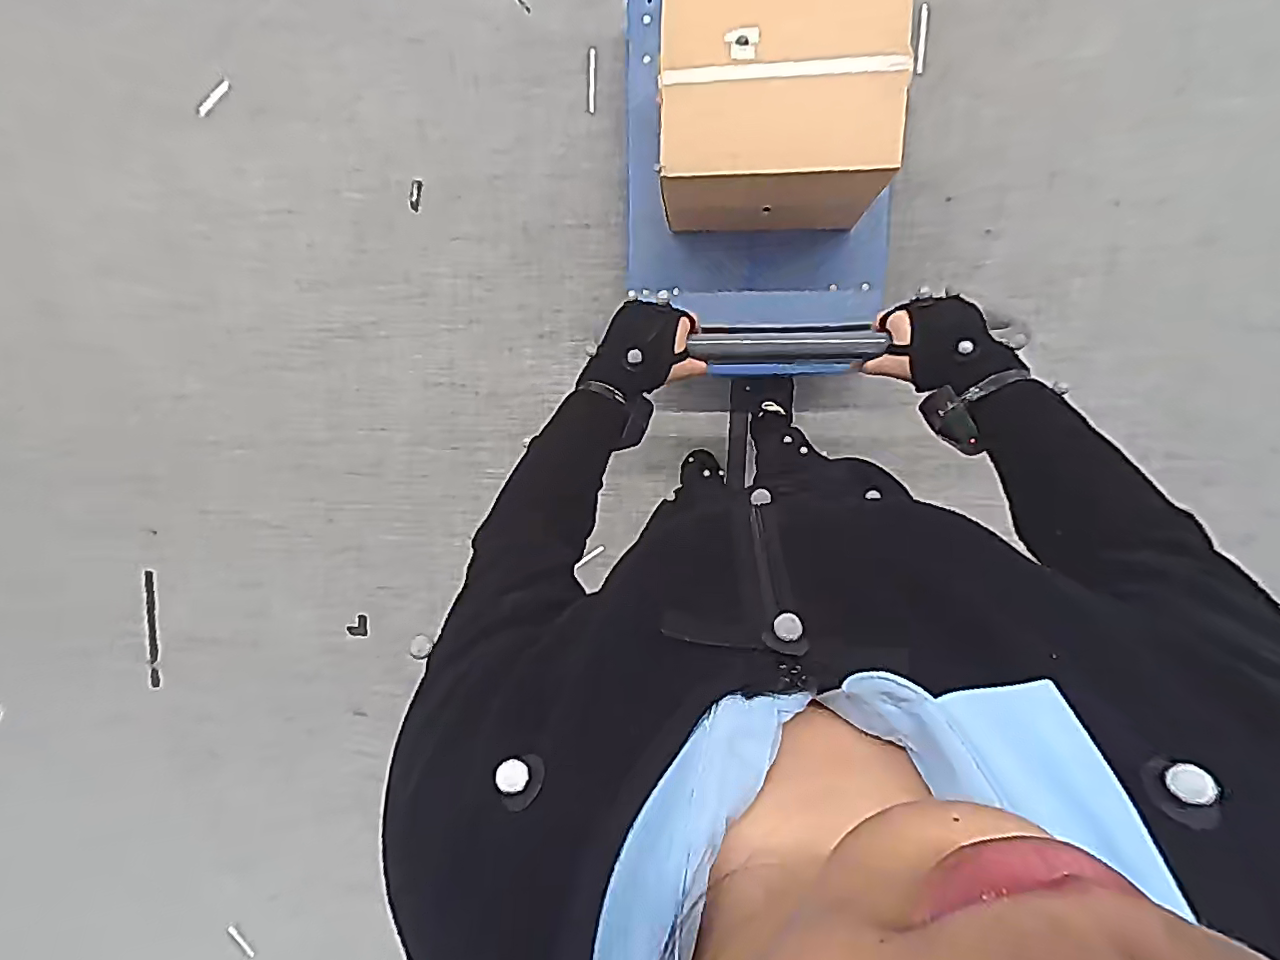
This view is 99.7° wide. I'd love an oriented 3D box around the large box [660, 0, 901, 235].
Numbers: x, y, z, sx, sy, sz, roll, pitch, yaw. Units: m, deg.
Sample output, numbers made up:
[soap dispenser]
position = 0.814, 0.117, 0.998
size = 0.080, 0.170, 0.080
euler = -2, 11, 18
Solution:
[large box]
position = 0.255, -0.698, 1.071
size = 0.408, 0.320, 0.320
euler = 1, 97, 8
